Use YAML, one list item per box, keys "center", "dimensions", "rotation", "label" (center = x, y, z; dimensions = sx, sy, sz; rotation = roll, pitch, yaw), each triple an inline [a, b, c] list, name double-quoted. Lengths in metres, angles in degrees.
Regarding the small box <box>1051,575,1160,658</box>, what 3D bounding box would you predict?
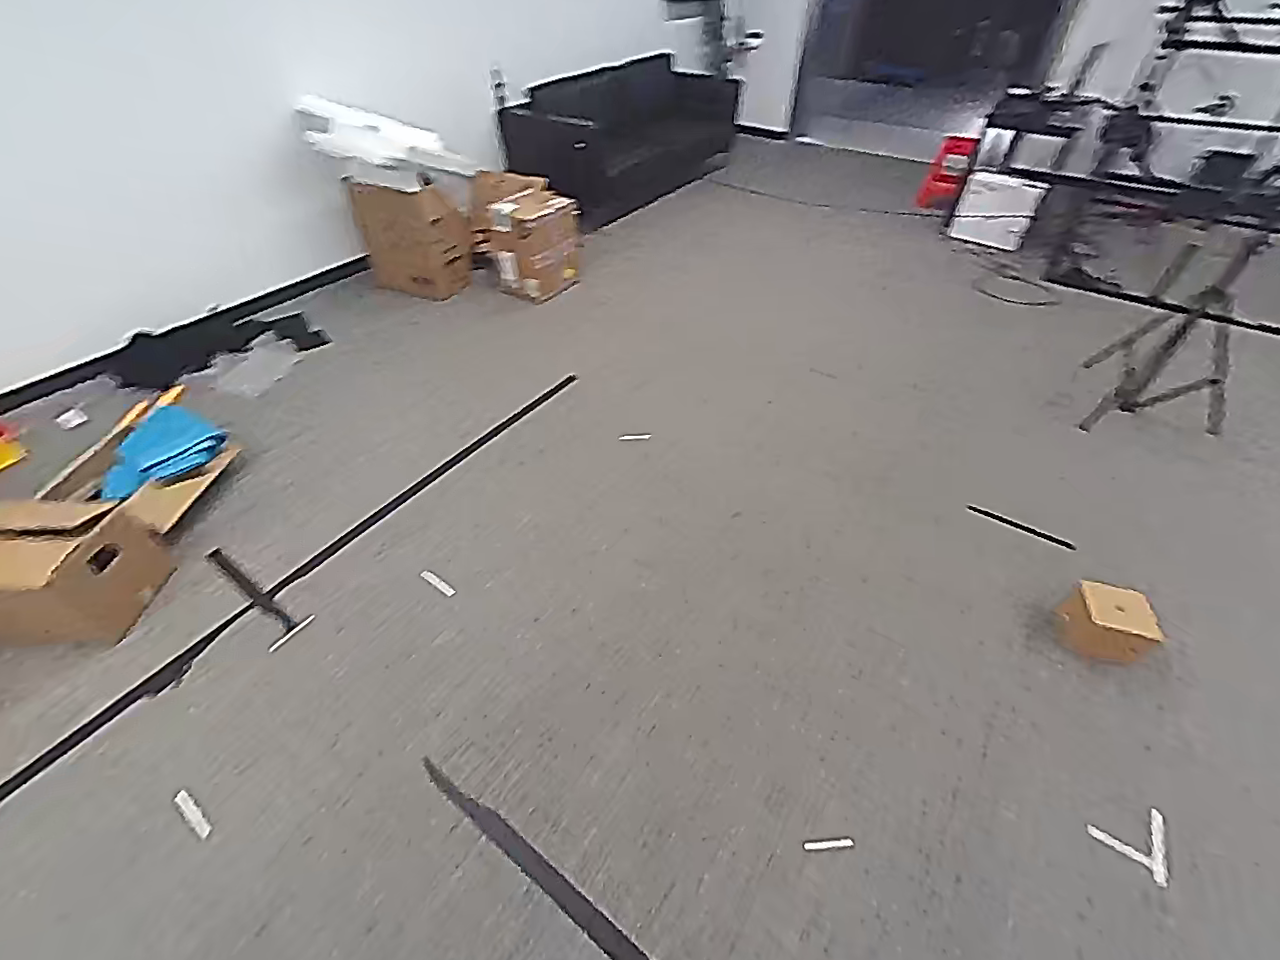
- center: [1.407, 0.419, 1.648]
  dimensions: [0.179, 0.176, 0.168]
  rotation: [11, 44, 12]
  label: "small box"
